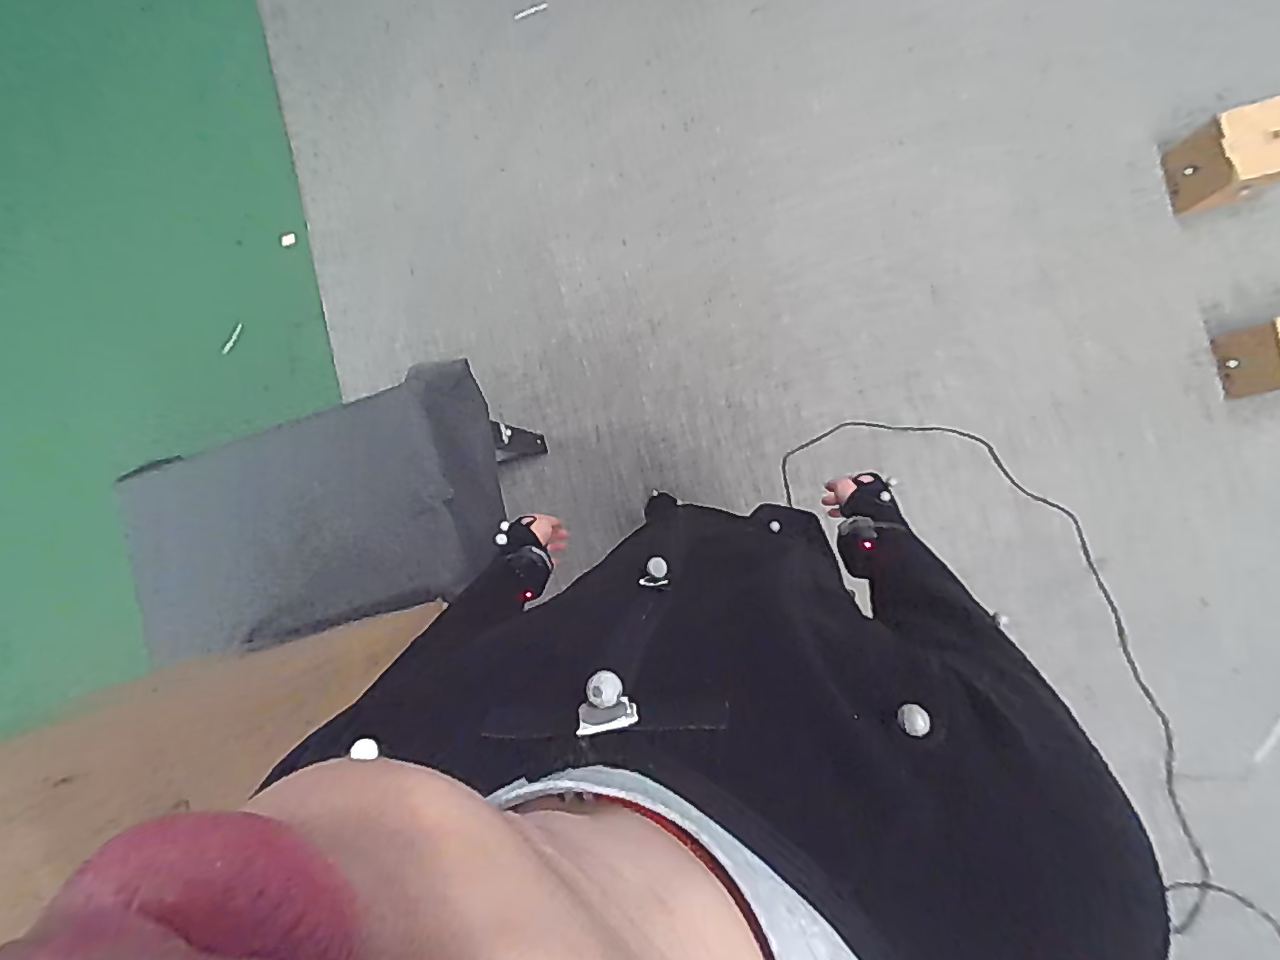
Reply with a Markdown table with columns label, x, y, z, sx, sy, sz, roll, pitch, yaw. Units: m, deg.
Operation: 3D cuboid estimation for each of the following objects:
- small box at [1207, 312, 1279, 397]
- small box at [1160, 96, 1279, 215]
| label | x | y | z | sx | sy | sz | roll | pitch | yaw |
| --- | --- | --- | --- | --- | --- | --- | --- | --- | --- |
| small box | 1.507 | -0.302 | 1.261 | 0.179 | 0.176 | 0.168 | -12 | 86 | 10 |
| small box | 1.405 | -0.767 | 1.292 | 0.179 | 0.176 | 0.168 | -12 | 87 | 9 |
